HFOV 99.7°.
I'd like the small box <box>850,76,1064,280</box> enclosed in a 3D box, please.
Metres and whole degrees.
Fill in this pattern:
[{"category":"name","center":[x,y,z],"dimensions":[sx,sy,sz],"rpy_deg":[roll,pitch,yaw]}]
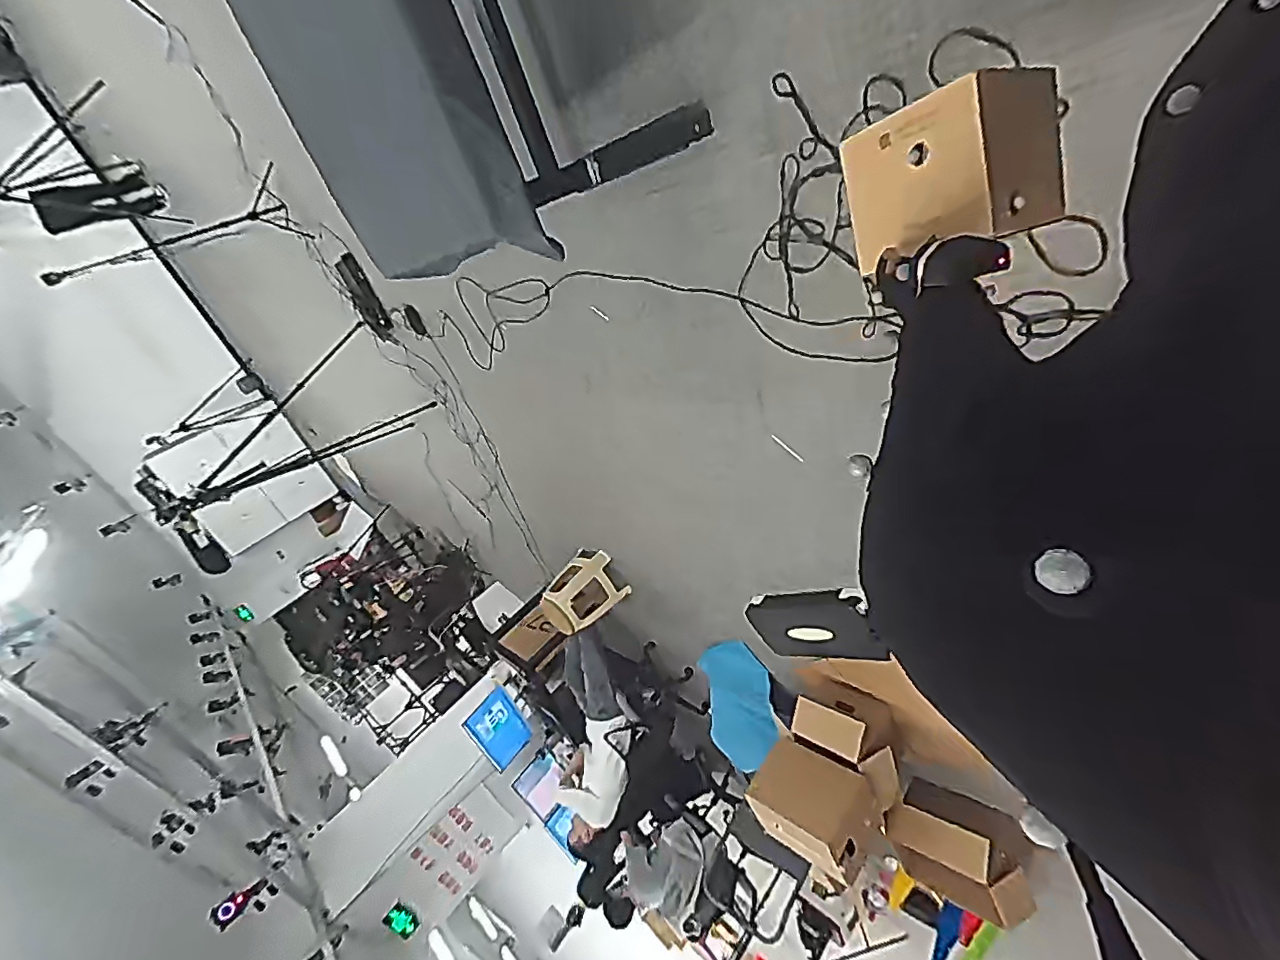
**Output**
[{"category":"small box","center":[0.389,-0.365,0.667],"dimensions":[0.168,0.179,0.176],"rpy_deg":[8,117,58]}]
